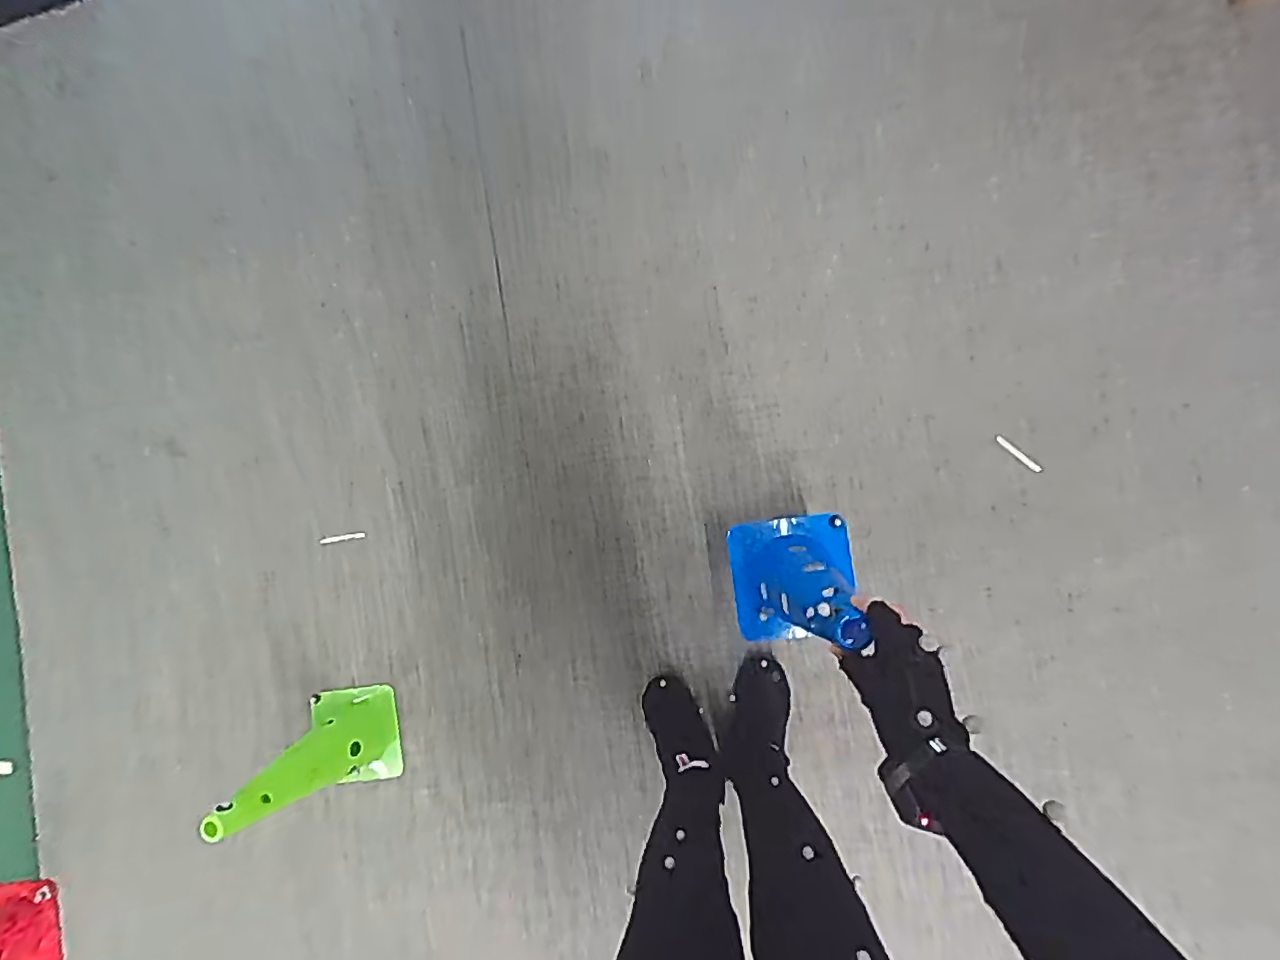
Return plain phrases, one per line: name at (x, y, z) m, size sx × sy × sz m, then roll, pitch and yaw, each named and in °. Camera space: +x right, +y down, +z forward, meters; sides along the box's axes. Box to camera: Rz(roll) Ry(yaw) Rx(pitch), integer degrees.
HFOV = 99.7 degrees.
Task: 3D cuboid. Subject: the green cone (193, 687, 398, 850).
green cone at (-0.648, 0.556, 1.002) m, size 0.202 × 0.368 × 0.200 m, roll -10°, pitch 87°, yaw 6°
